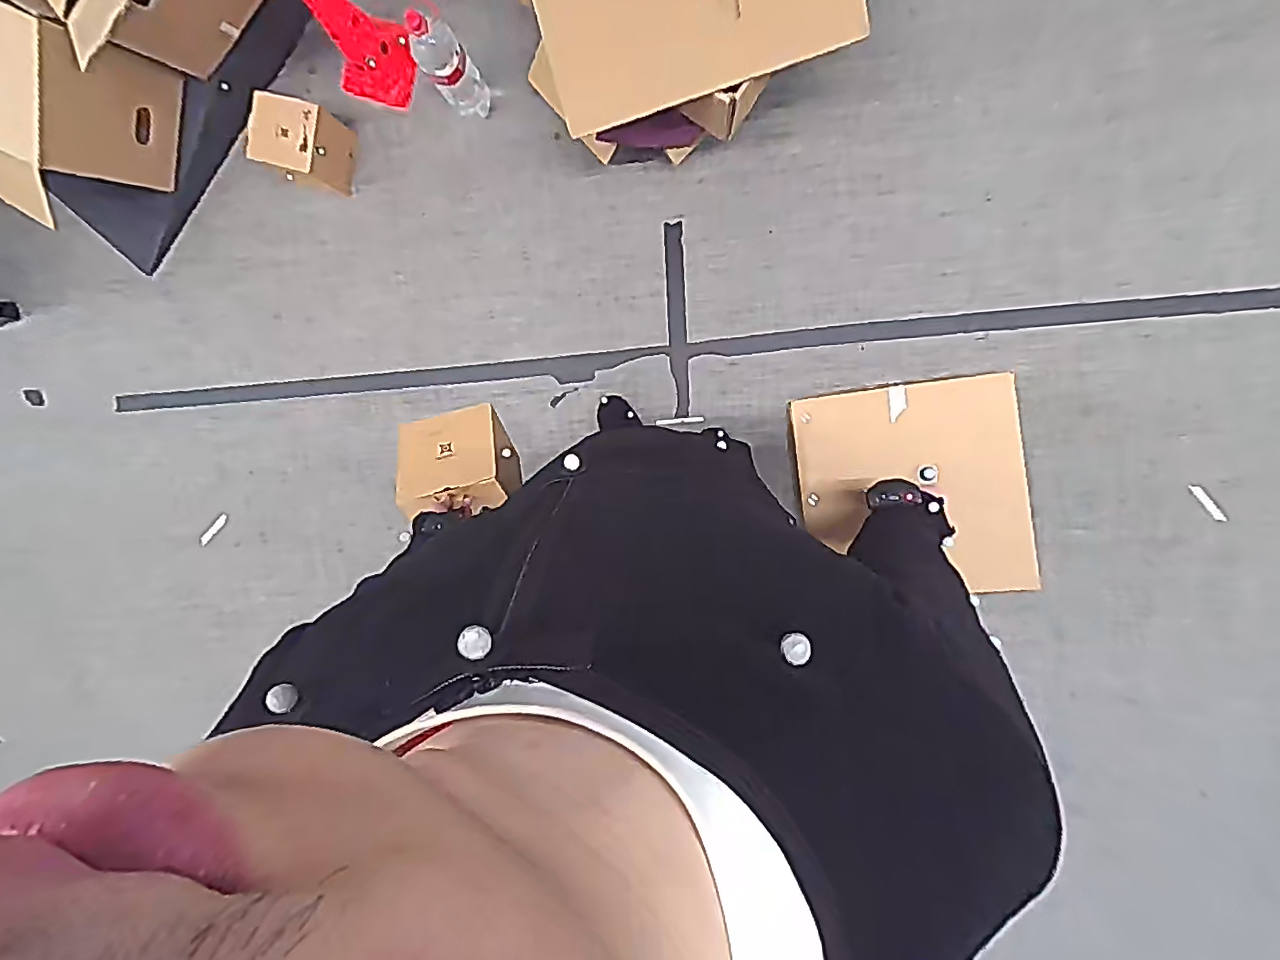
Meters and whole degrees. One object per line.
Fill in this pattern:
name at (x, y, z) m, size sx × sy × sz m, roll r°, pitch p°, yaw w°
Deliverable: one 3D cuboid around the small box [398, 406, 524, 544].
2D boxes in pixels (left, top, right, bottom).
small box at (-0.318, 0.000, 0.983) m, size 0.168 × 0.176 × 0.179 m, roll -14°, pitch 54°, yaw -2°
